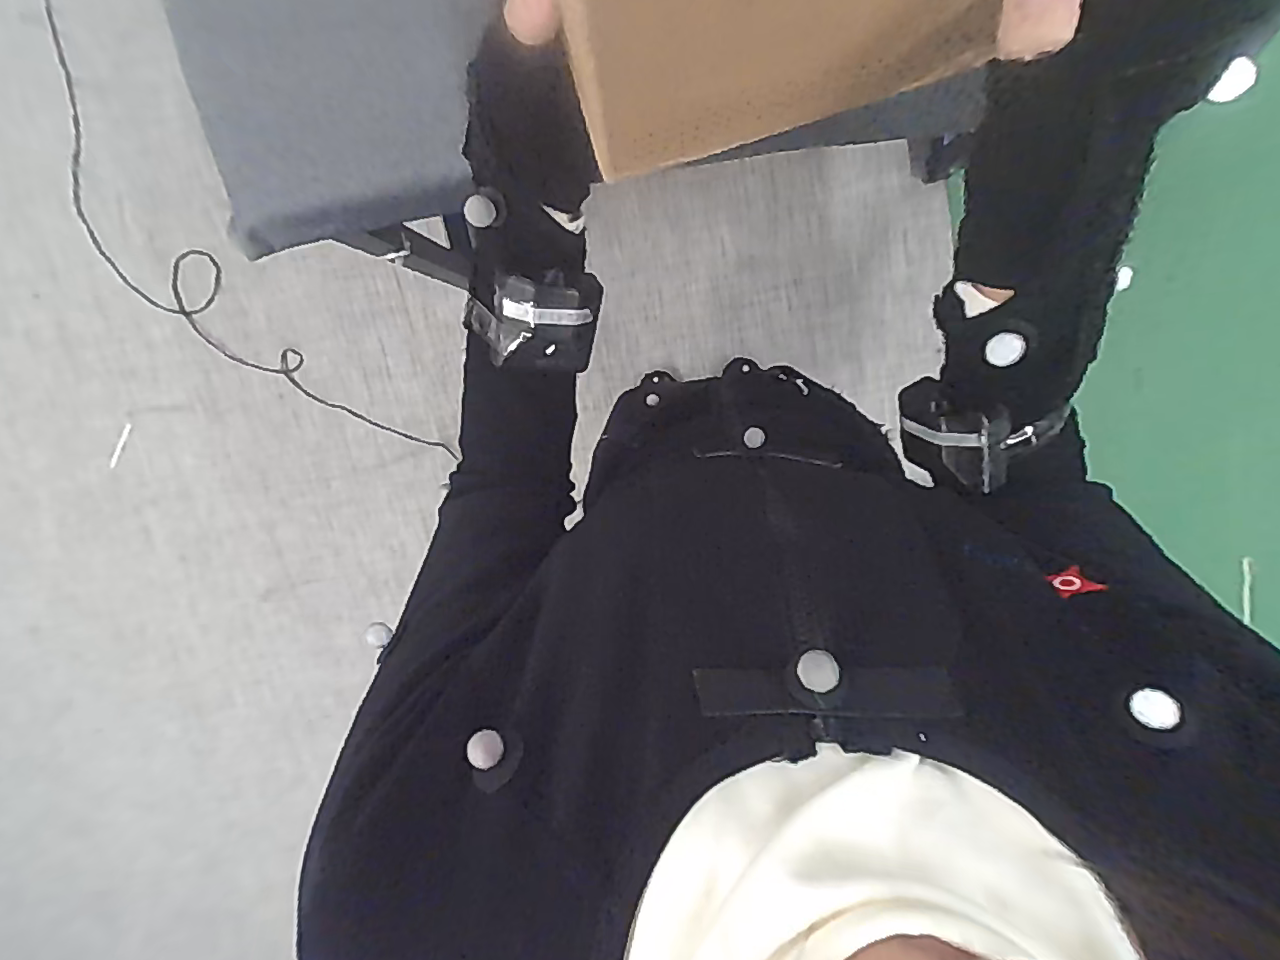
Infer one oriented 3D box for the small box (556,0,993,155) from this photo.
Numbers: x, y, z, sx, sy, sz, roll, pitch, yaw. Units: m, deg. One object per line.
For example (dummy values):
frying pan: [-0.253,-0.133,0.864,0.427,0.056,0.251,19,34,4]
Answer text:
small box: [0.042,-0.231,0.153,0.179,0.176,0.168,-17,96,1]
